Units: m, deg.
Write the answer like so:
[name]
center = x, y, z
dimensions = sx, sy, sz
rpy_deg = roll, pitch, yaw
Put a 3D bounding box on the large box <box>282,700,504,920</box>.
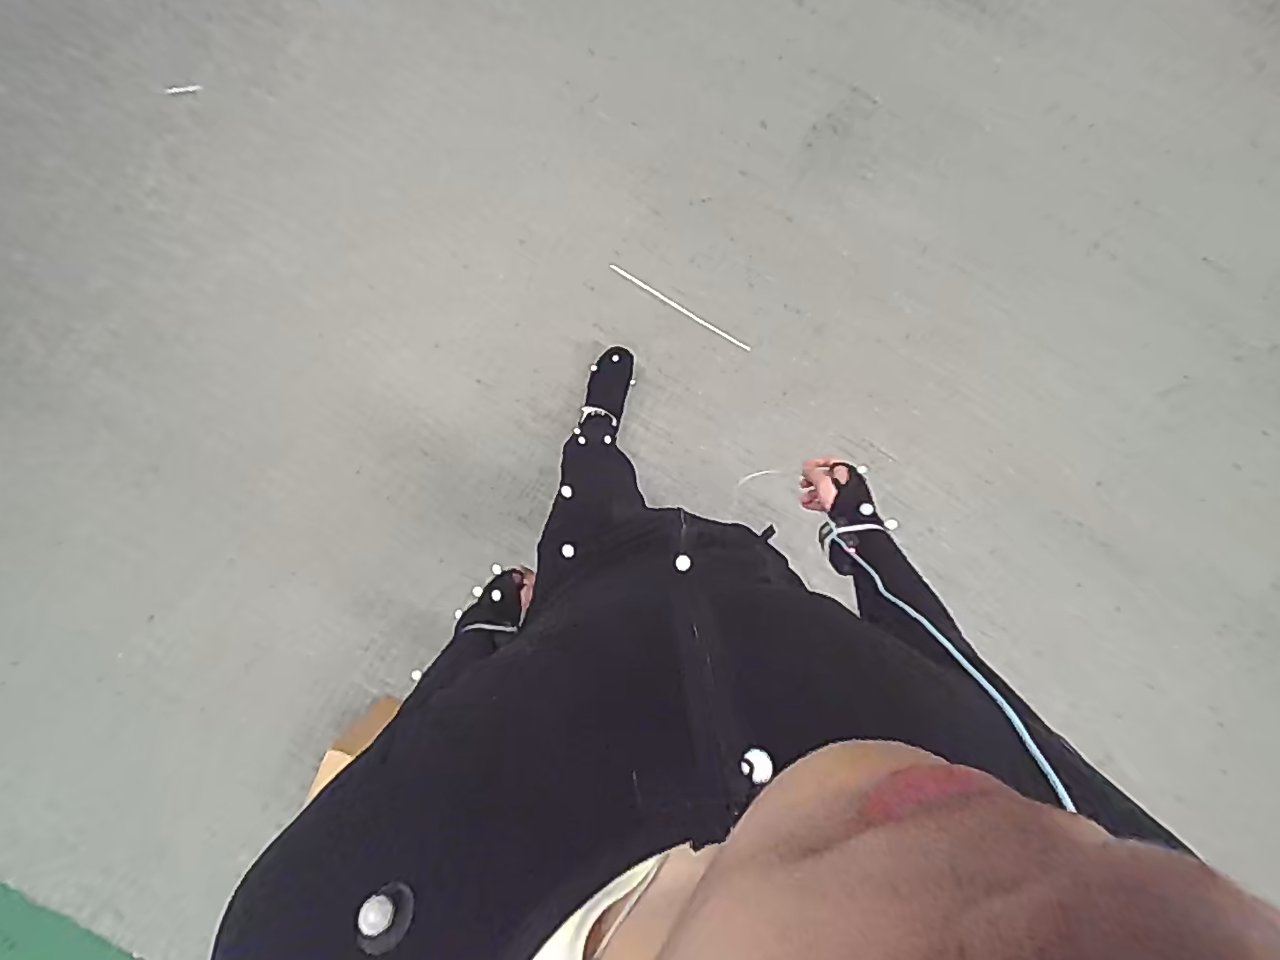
[large box]
center = -0.640, 0.868, 1.471
dimensions = 0.408, 0.320, 0.320
rpy_deg = 23, 90, -1
